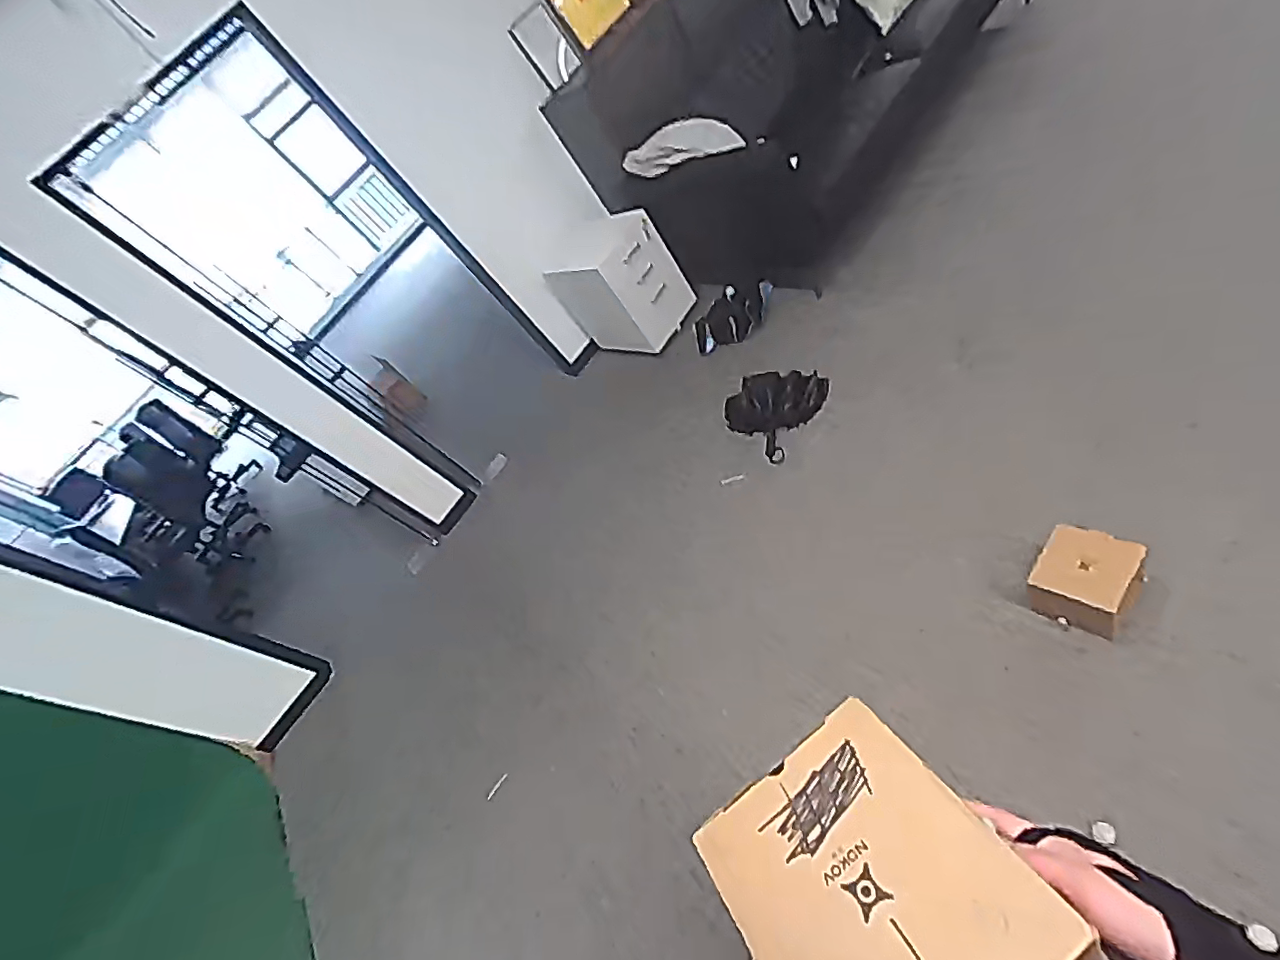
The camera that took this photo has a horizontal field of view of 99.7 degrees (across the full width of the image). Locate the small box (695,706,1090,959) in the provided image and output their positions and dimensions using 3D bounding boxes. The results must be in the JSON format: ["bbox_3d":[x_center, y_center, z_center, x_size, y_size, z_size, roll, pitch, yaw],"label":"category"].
[{"bbox_3d":[0.173,0.313,0.389,0.168,0.176,0.179,-37,34,-5],"label":"small box"}]

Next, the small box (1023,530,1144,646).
[{"bbox_3d":[1.028,0.252,1.259,0.168,0.176,0.179,25,74,49],"label":"small box"}]
